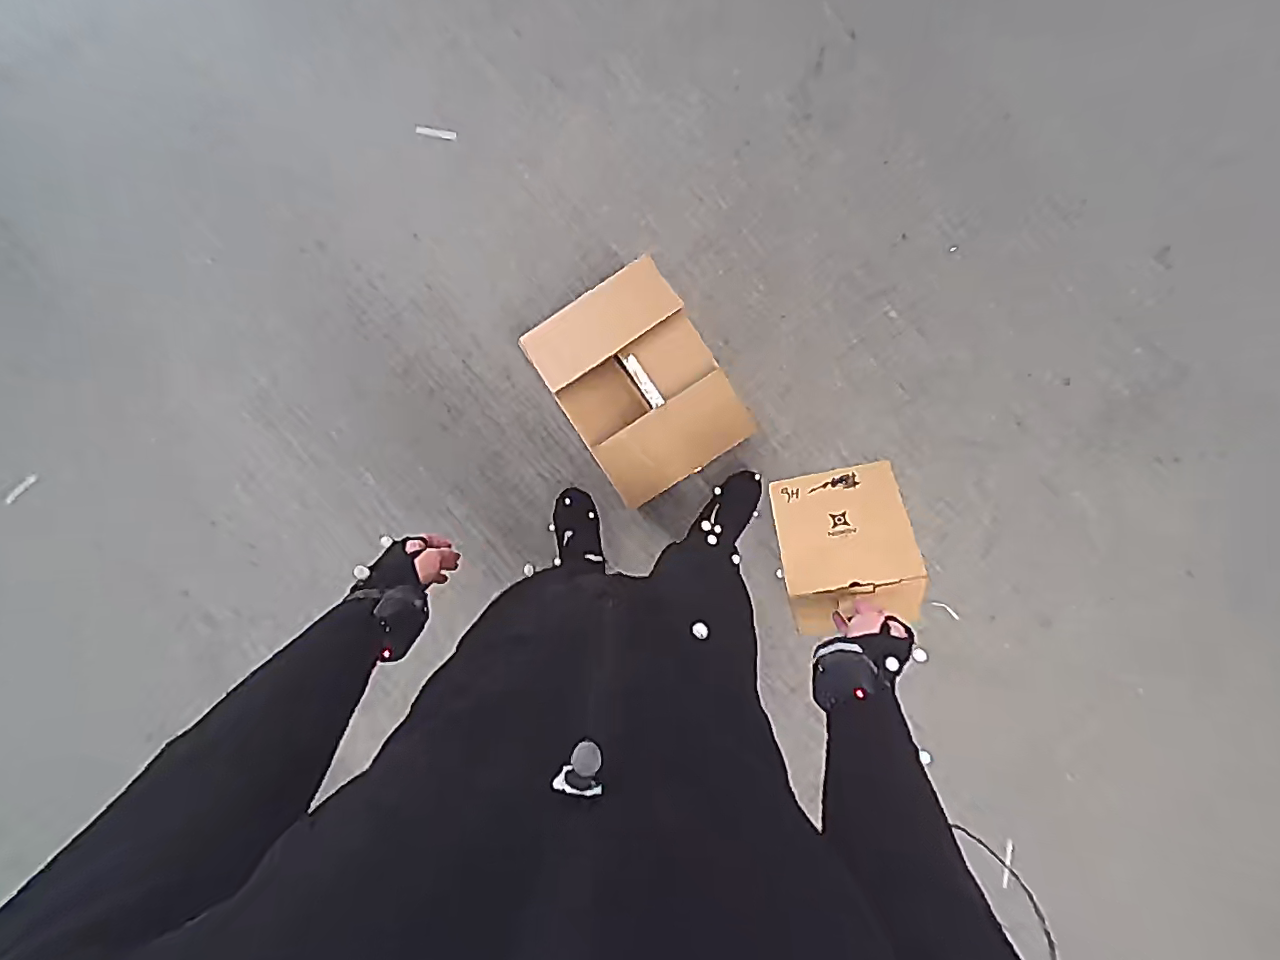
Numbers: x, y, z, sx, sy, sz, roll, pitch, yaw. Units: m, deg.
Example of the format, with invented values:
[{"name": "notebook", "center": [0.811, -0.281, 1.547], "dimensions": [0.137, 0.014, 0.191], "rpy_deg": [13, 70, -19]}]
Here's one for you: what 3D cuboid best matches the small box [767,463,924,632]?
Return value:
[{"name": "small box", "center": [0.293, 0.107, 0.778], "dimensions": [0.168, 0.176, 0.179], "rpy_deg": [-15, 52, 15]}]
